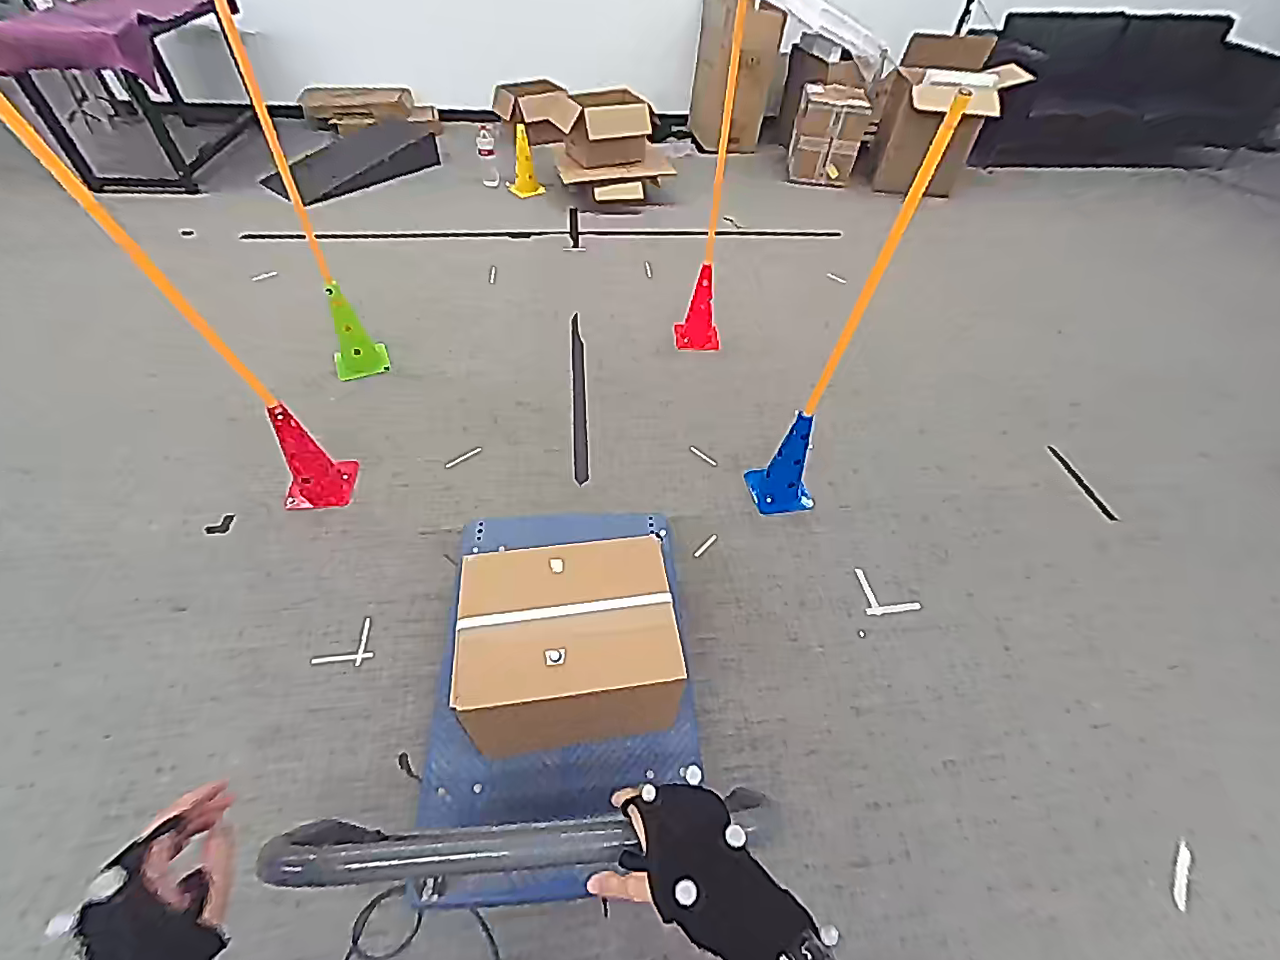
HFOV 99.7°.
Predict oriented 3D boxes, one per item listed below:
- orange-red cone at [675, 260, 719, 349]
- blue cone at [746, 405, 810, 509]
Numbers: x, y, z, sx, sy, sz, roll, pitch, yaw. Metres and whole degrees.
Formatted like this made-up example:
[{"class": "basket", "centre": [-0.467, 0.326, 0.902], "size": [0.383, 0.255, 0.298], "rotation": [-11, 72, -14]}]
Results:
[{"class": "orange-red cone", "centre": [0.269, -0.771, 2.332], "size": [0.199, 0.360, 0.198], "rotation": [3, 50, -3]}, {"class": "blue cone", "centre": [0.492, -0.086, 1.774], "size": [0.193, 0.380, 0.192], "rotation": [-6, 49, -9]}]
